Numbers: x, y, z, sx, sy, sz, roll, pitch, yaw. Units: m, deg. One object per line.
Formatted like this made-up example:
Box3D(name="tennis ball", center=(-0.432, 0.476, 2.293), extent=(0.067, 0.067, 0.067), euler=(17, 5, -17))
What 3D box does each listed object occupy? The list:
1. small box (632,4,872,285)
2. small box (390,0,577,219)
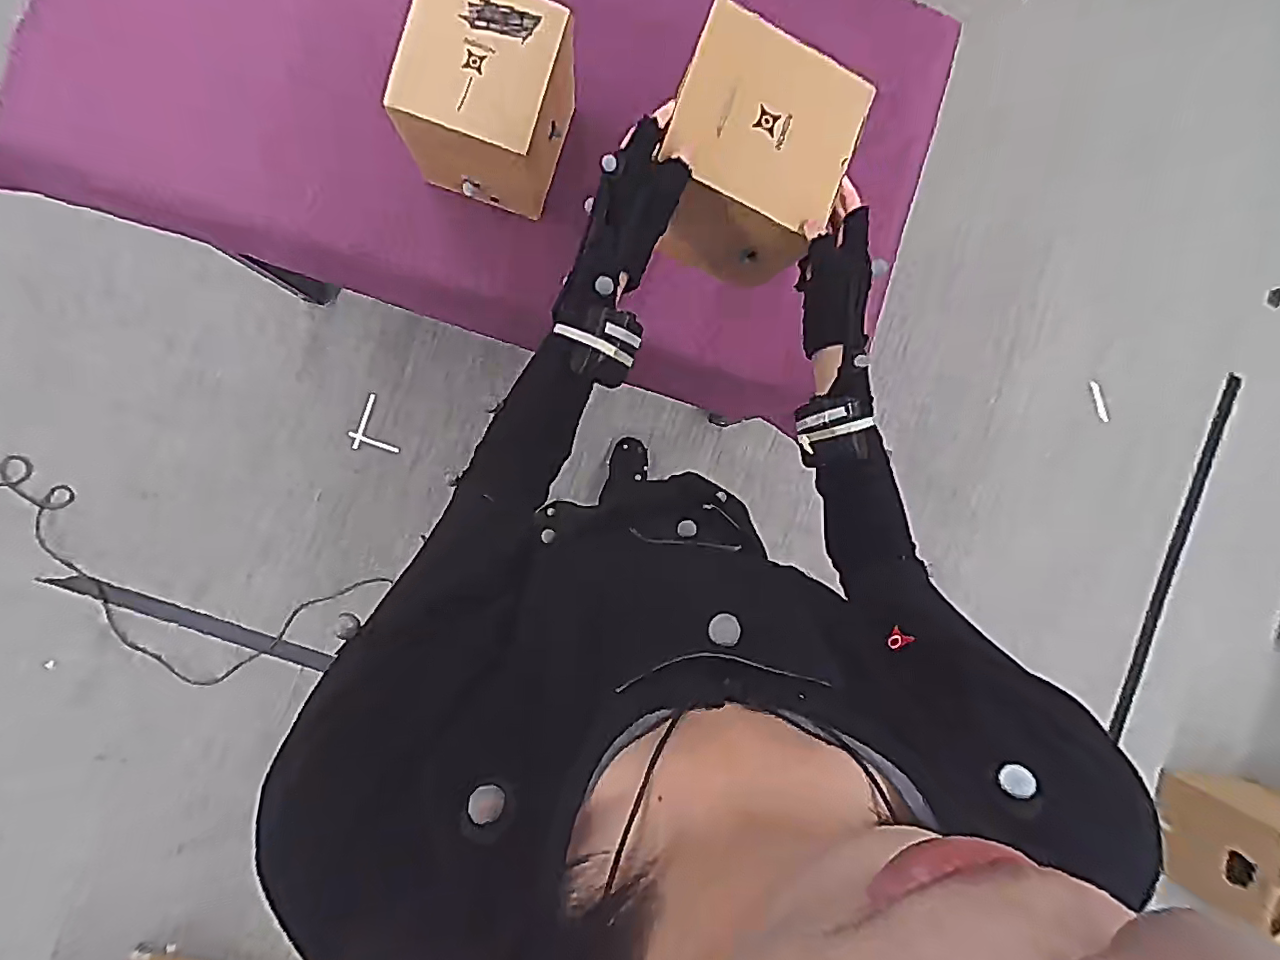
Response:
Box3D(name="small box", center=(0.107, -0.335, 0.585), extent=(0.179, 0.176, 0.168), euler=(19, 86, -10))
Box3D(name="small box", center=(-0.184, -0.472, 0.683), extent=(0.168, 0.176, 0.179), euler=(17, 90, -6))
